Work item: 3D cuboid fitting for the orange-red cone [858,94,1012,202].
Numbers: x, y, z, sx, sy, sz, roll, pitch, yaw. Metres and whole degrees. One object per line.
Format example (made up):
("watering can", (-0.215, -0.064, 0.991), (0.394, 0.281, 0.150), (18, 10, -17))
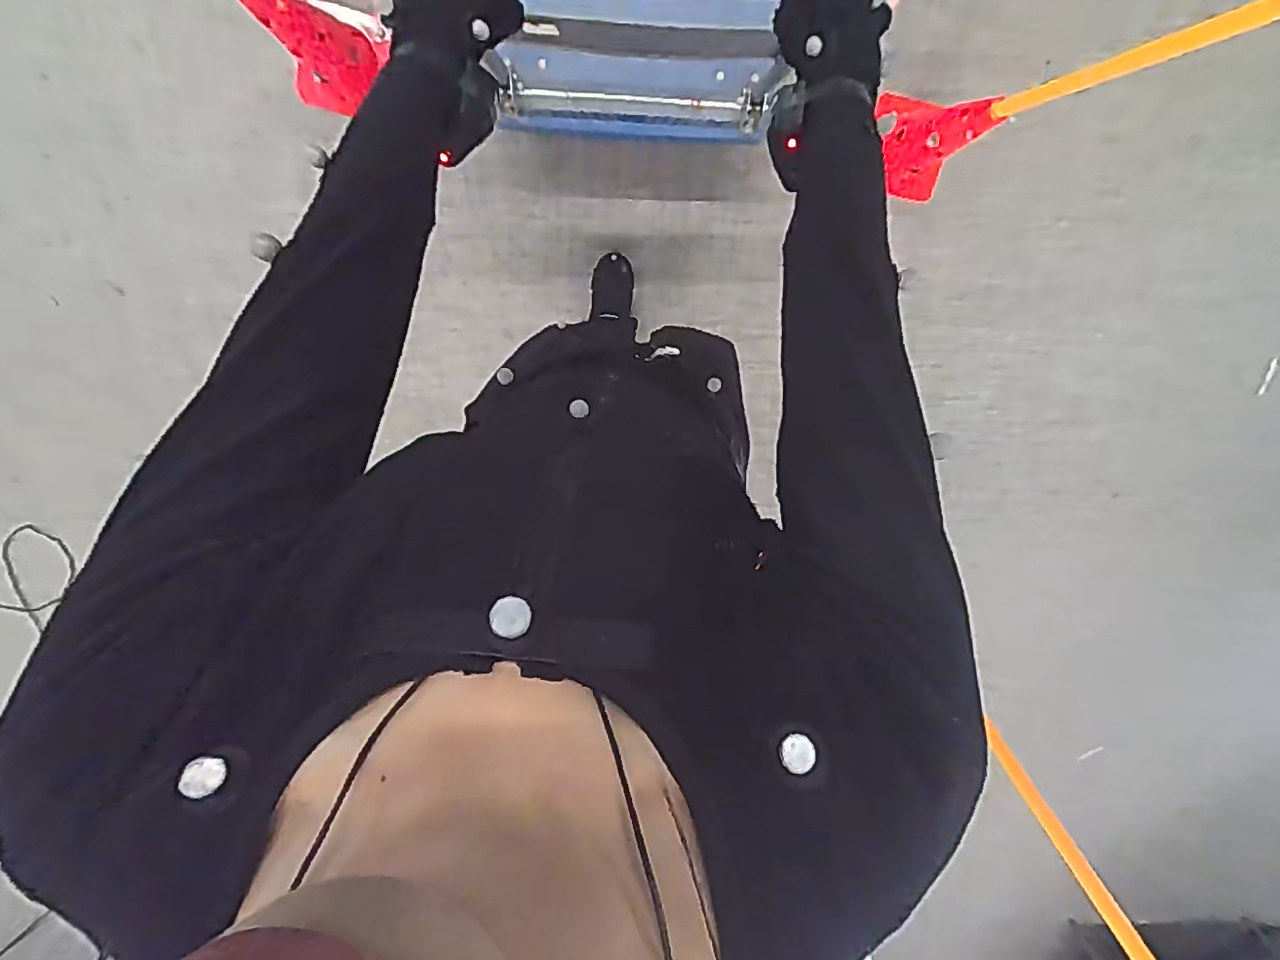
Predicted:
("orange-red cone", (0.638, -0.721, 1.121), (0.198, 0.360, 0.199), (11, 111, -6))
